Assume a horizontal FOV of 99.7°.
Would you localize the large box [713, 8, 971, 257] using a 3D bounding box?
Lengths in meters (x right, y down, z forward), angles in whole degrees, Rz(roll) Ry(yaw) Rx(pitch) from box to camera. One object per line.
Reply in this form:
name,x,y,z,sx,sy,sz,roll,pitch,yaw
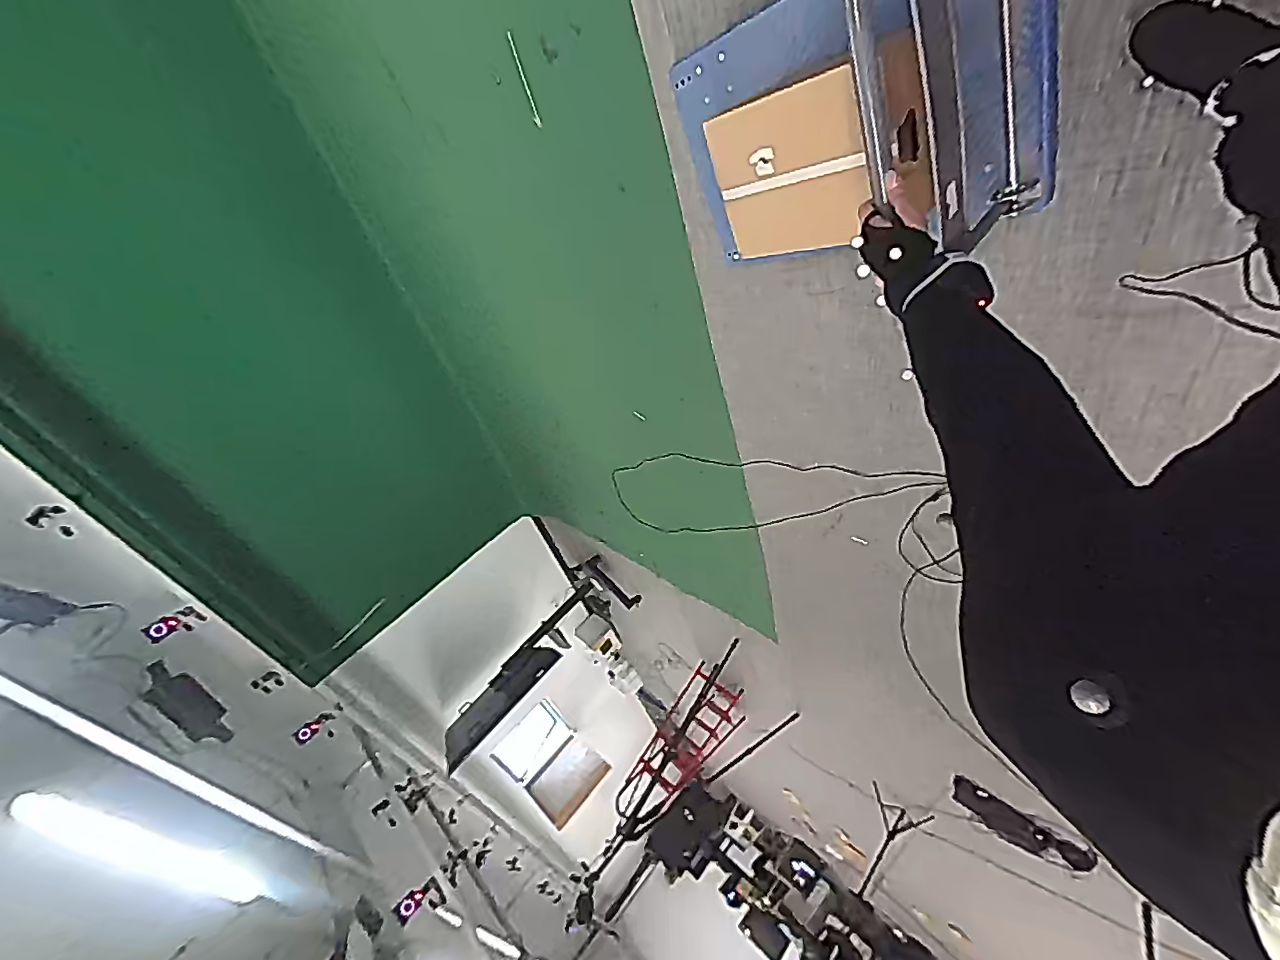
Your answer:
large box,0.444,-0.732,1.191,0.408,0.320,0.320,17,141,48
